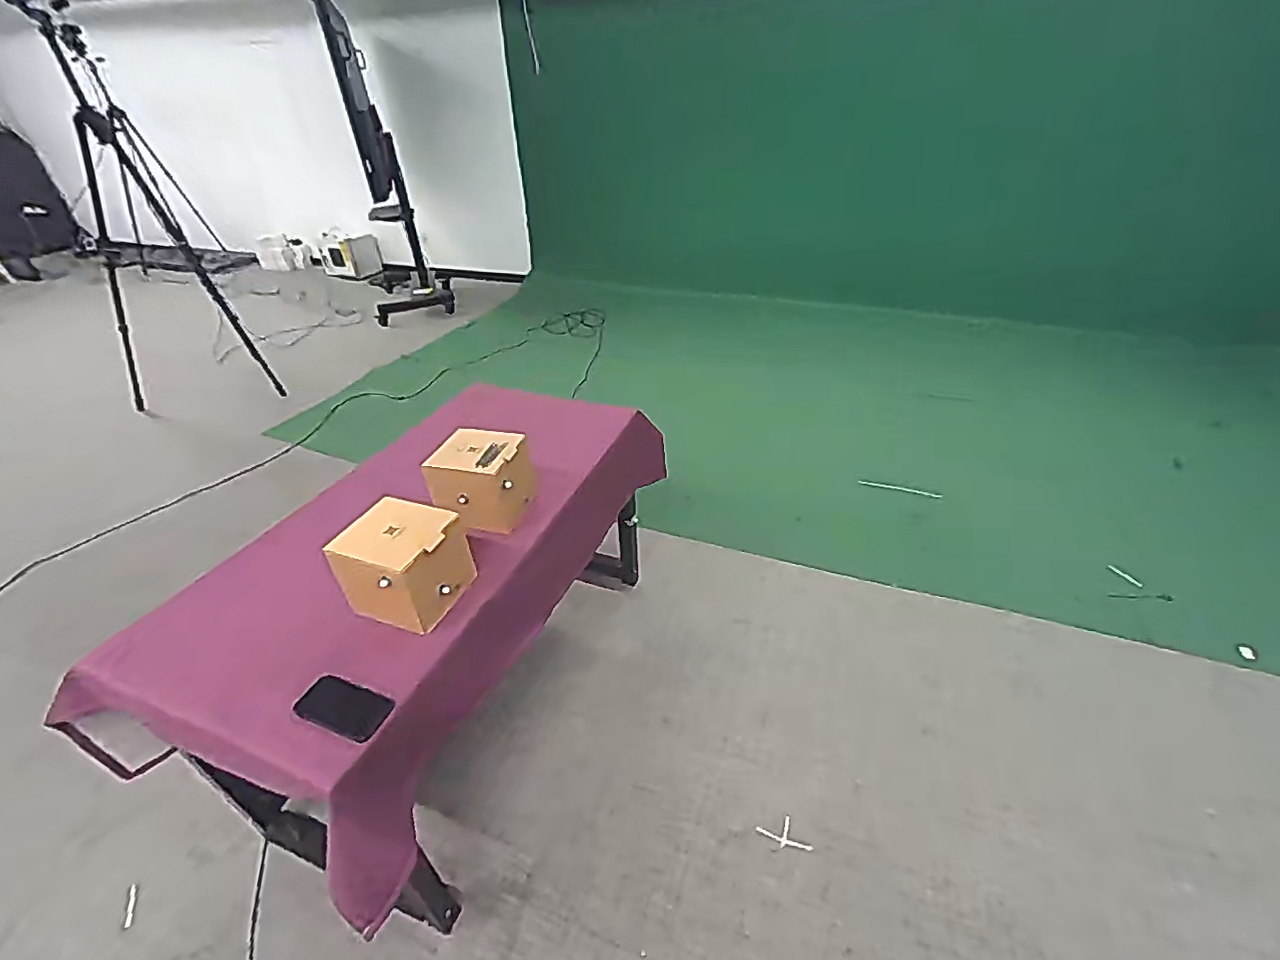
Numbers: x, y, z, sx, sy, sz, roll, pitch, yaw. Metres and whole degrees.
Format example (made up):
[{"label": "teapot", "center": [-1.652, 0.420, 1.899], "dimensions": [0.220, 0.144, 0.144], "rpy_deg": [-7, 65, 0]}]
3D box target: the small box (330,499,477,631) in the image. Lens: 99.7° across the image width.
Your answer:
[{"label": "small box", "center": [-0.443, 0.163, 1.039], "dimensions": [0.179, 0.176, 0.168], "rpy_deg": [11, 38, 17]}]
